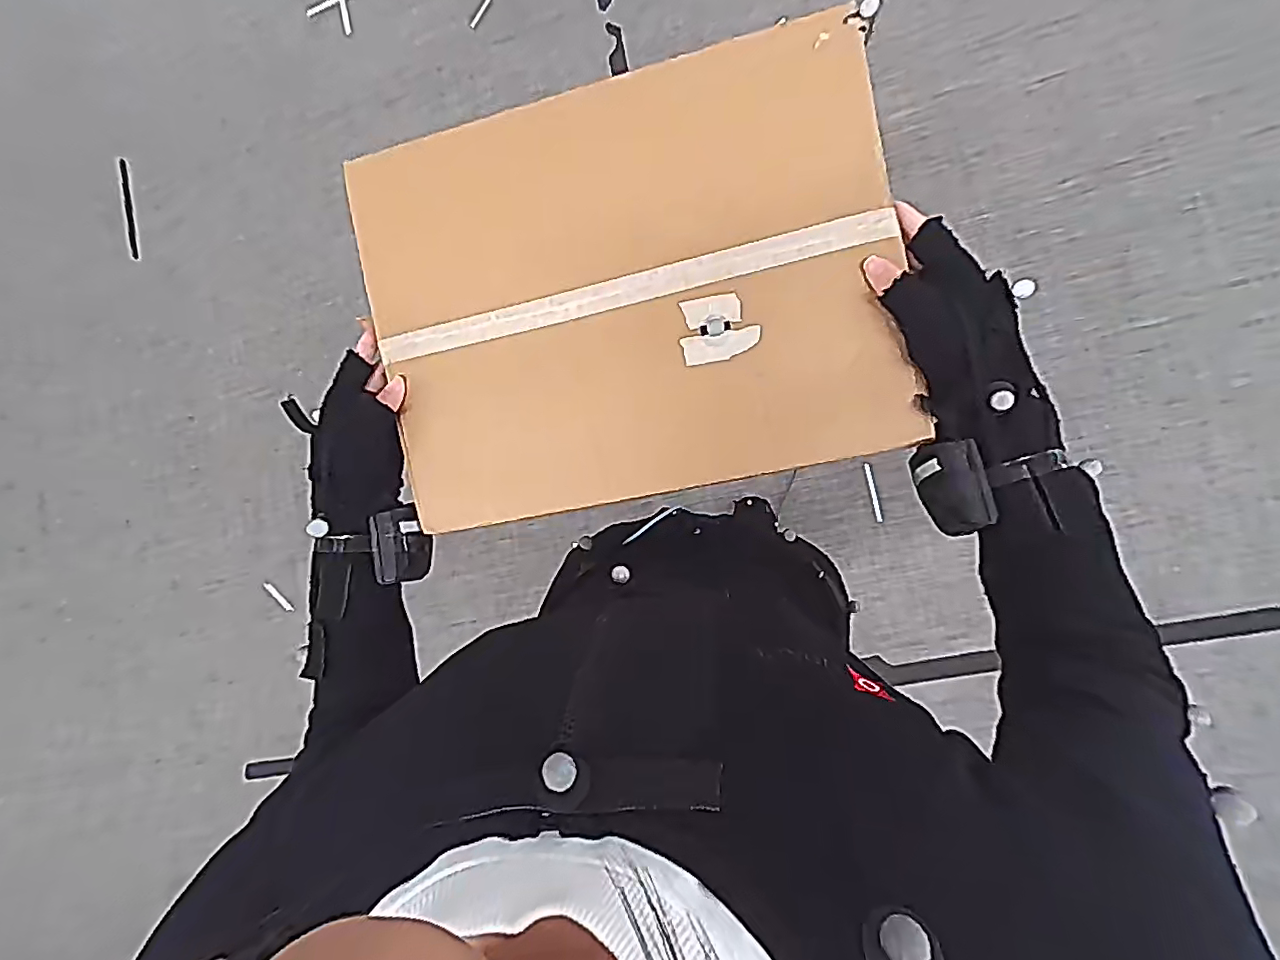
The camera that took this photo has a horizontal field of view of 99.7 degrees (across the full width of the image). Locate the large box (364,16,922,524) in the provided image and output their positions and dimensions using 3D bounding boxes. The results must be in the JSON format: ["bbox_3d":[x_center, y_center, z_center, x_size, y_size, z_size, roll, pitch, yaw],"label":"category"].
[{"bbox_3d":[0.008,-0.159,0.574,0.408,0.320,0.320,-11,93,8],"label":"large box"}]
